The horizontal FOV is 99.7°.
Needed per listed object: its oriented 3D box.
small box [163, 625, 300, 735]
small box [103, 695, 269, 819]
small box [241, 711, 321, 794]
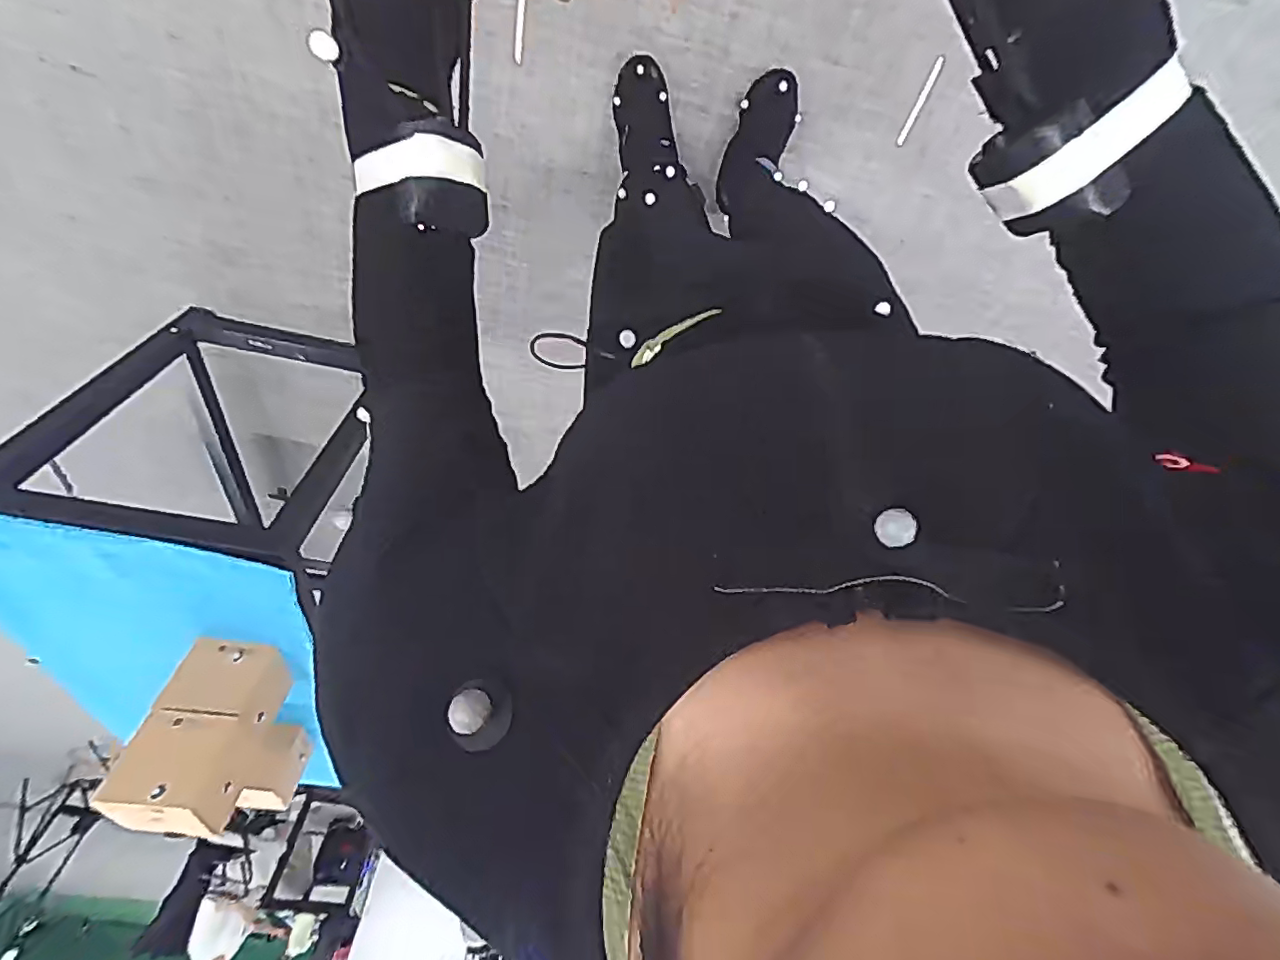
[{"bbox_3d":[-0.897,0.450,1.212,0.168,0.176,0.179,10,134,-7],"label":"small box"},{"bbox_3d":[-0.894,0.558,1.090,0.168,0.176,0.179,8,133,-4],"label":"small box"},{"bbox_3d":[-1.029,0.757,1.514,0.179,0.176,0.168,11,135,-10],"label":"small box"}]
